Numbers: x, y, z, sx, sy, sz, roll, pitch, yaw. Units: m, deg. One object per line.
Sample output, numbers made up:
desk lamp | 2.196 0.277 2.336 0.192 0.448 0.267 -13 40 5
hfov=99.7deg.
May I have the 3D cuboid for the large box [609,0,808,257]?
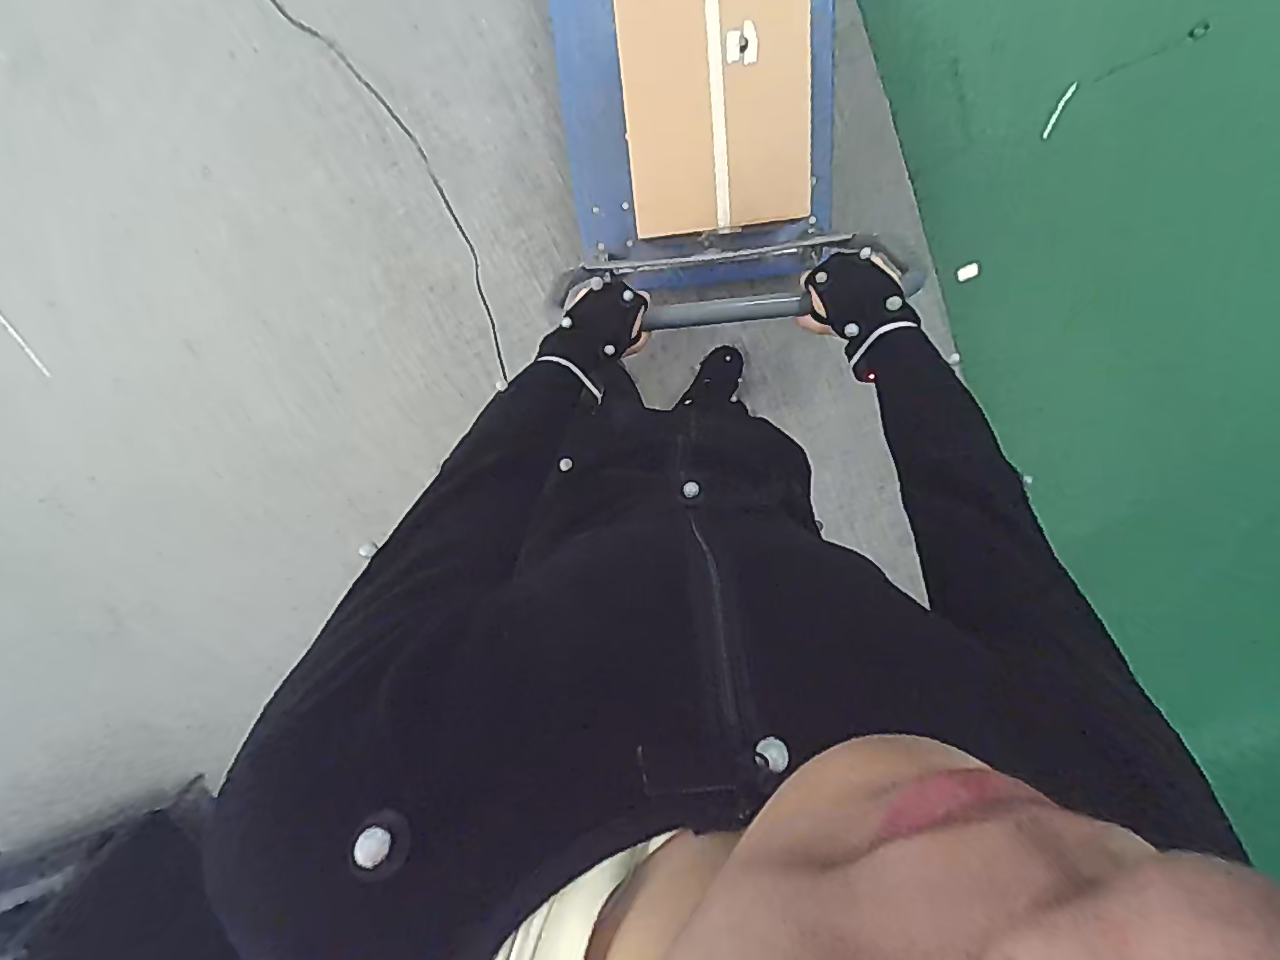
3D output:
large box | 0.137 -0.682 1.063 0.320 0.320 0.408 -5 109 6
